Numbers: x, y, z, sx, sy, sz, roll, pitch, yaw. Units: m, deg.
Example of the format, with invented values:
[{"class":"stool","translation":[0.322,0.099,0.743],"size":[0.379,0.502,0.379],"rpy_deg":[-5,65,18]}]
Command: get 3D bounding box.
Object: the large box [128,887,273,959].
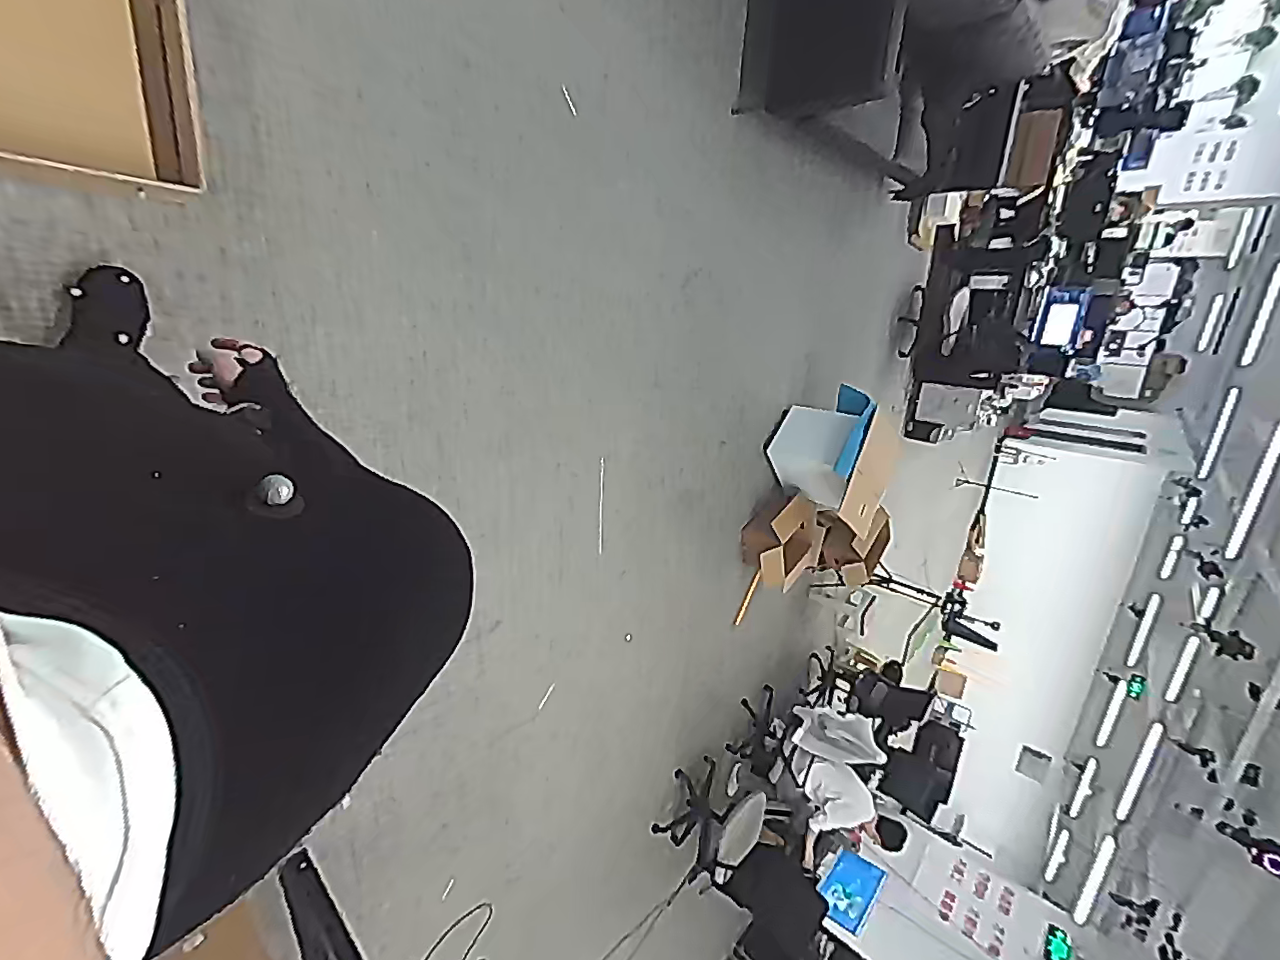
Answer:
[{"class":"large box","translation":[-1.219,1.498,1.530],"size":[0.320,0.320,0.408],"rpy_deg":[-19,119,-44]}]
